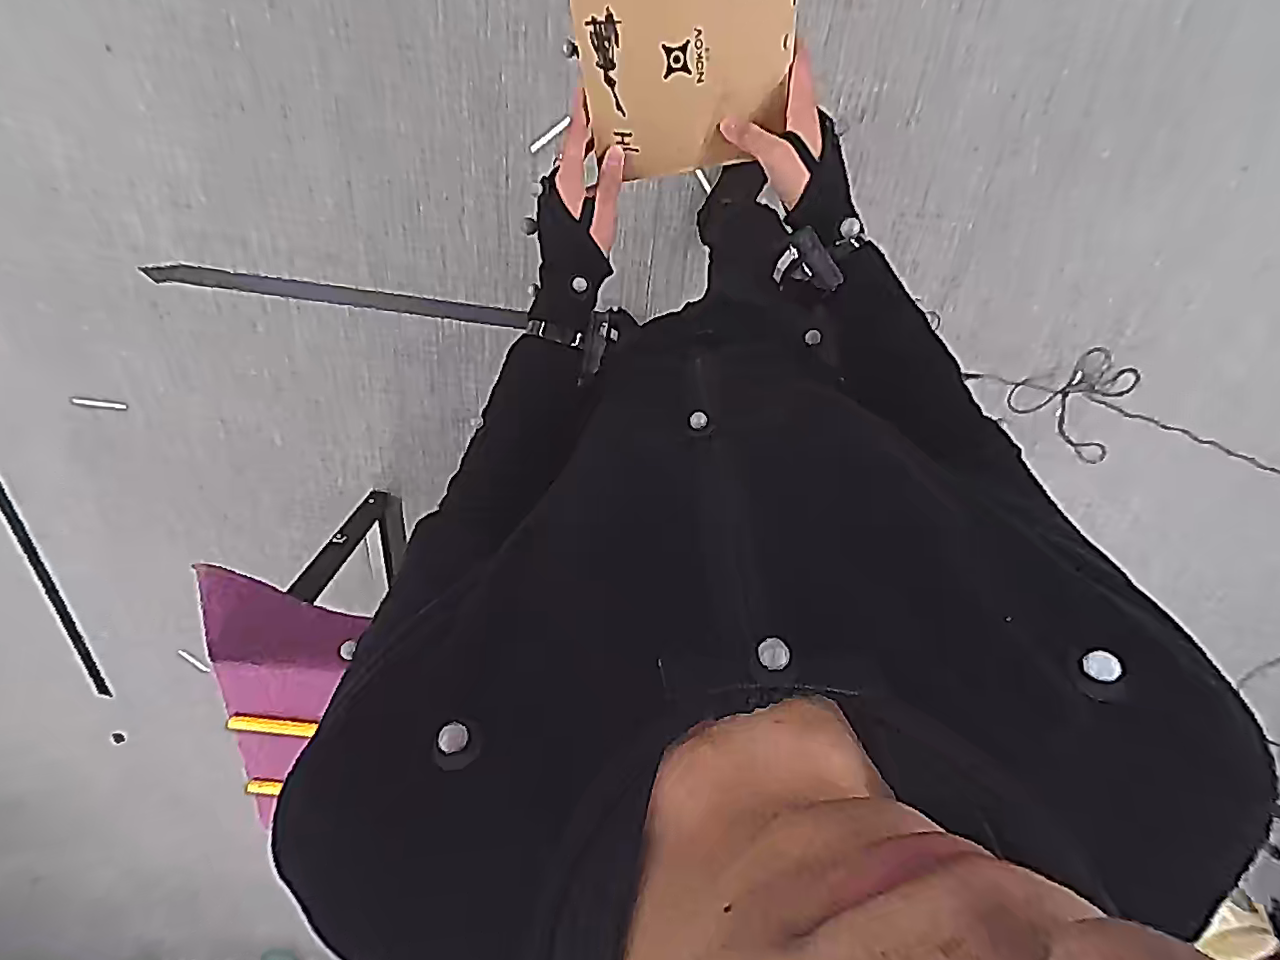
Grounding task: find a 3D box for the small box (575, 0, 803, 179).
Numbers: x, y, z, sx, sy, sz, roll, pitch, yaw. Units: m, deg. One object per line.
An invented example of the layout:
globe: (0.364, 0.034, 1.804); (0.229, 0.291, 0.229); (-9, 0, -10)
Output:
small box: (0.036, -0.399, 0.492); (0.179, 0.176, 0.168); (-8, 134, 2)
